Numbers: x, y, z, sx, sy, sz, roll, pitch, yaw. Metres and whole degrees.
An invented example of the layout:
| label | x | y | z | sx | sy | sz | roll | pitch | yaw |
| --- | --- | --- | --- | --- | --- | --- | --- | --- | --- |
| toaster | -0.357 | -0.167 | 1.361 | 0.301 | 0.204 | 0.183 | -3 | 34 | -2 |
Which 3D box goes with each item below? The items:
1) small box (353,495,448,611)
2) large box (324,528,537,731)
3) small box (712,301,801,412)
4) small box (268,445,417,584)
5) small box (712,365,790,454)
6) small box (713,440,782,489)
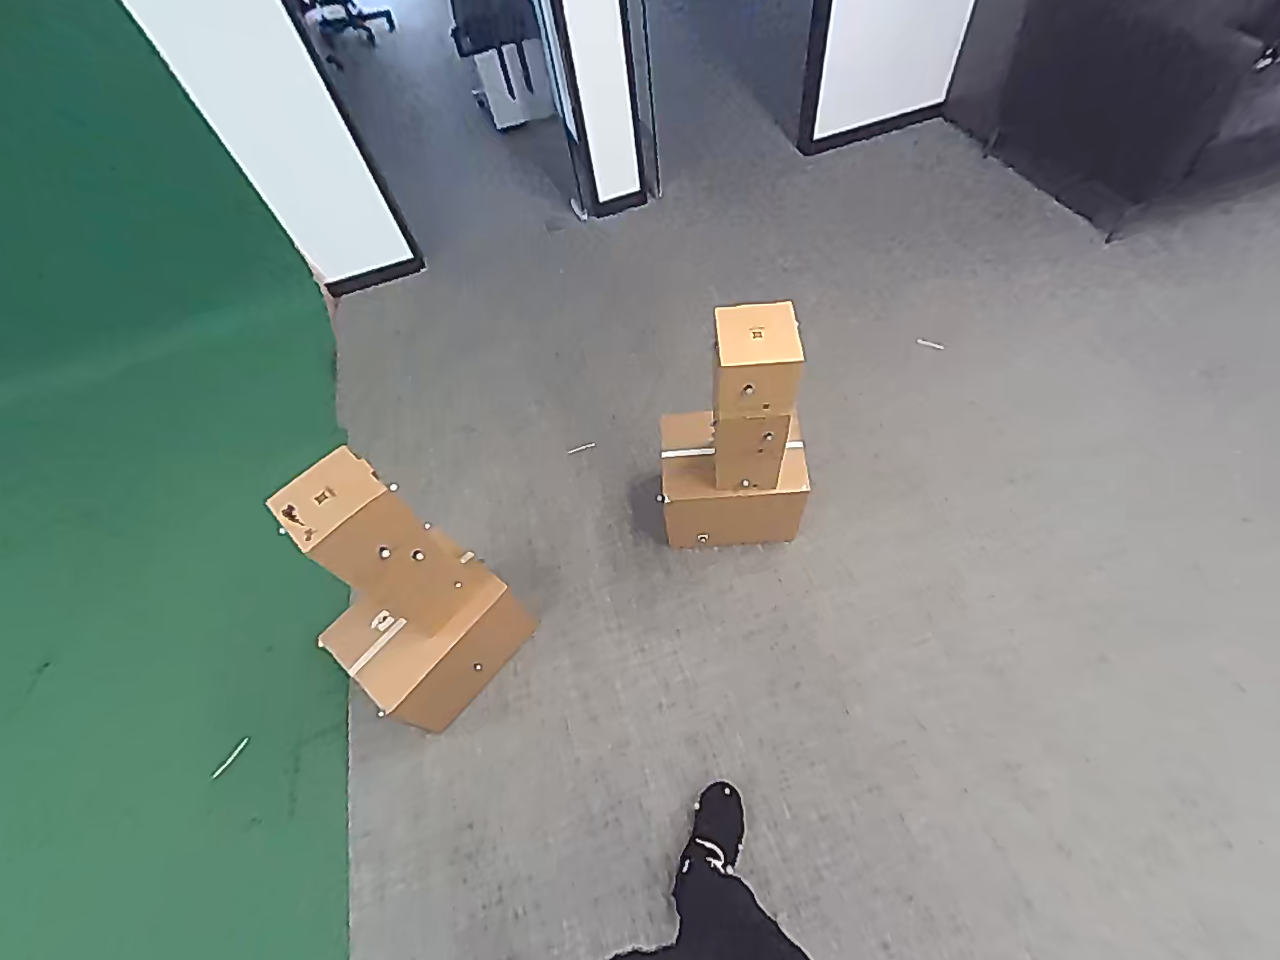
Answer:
| label | x | y | z | sx | sy | sz | roll | pitch | yaw |
| --- | --- | --- | --- | --- | --- | --- | --- | --- | --- |
| small box | -0.555 | 0.158 | 1.204 | 0.168 | 0.176 | 0.179 | 36 | 69 | 27 |
| large box | -0.563 | 0.422 | 1.527 | 0.320 | 0.320 | 0.408 | 31 | 67 | 26 |
| small box | 0.246 | -0.260 | 1.177 | 0.168 | 0.176 | 0.179 | -3 | 57 | 5 |
| small box | -0.570 | 0.071 | 1.066 | 0.168 | 0.176 | 0.179 | 37 | 68 | 27 |
| small box | 0.263 | -0.174 | 1.313 | 0.168 | 0.176 | 0.179 | -3 | 58 | 5 |
| small box | 0.283 | -0.093 | 1.453 | 0.168 | 0.176 | 0.179 | -2 | 59 | 7 |
